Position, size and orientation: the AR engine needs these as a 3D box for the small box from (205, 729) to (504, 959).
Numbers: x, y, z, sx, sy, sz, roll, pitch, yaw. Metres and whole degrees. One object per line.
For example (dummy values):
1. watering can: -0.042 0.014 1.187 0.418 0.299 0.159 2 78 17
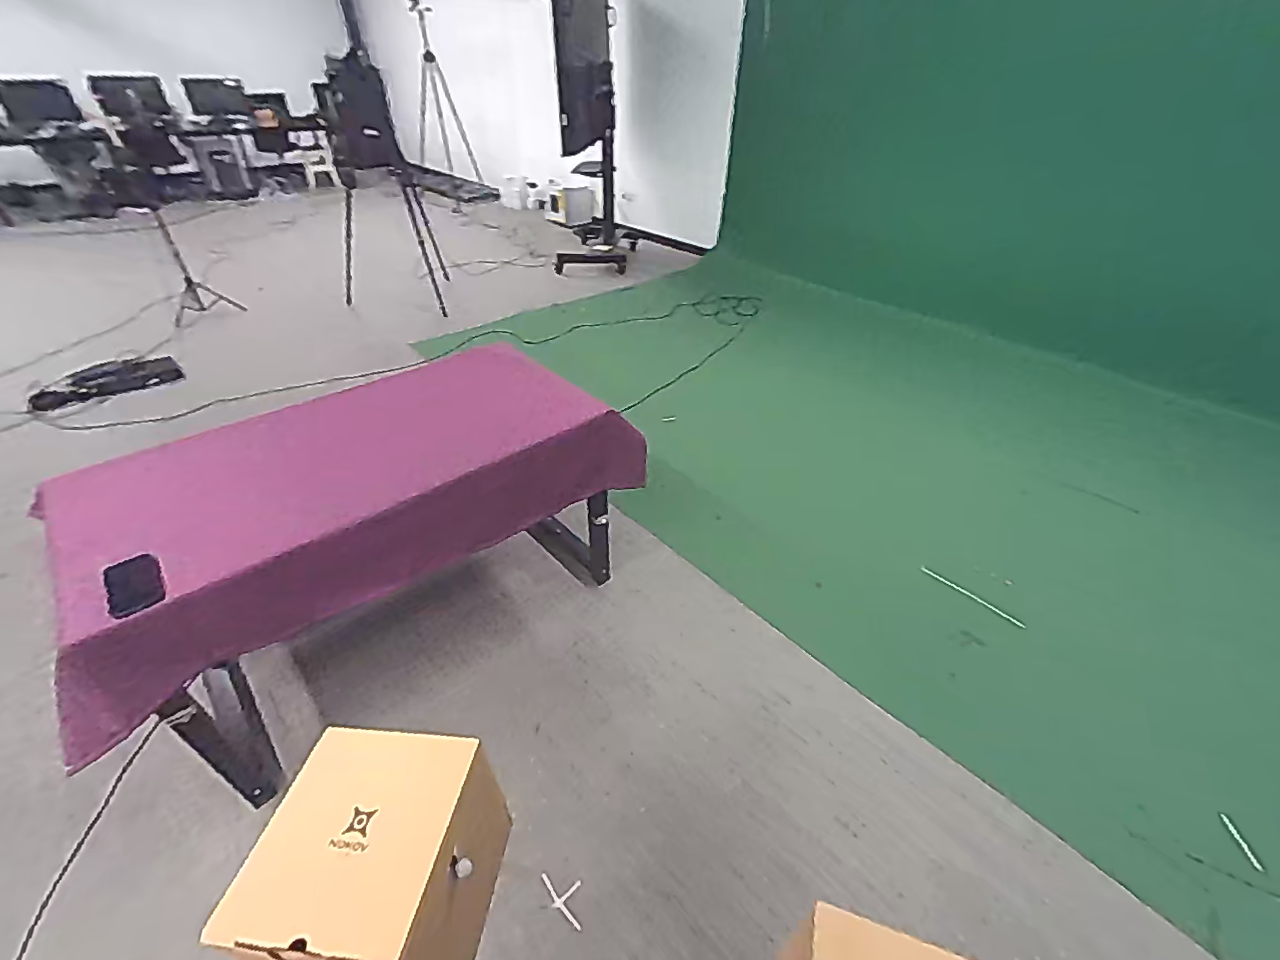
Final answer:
1. small box: -0.241 0.370 0.516 0.168 0.176 0.179 1 36 7
